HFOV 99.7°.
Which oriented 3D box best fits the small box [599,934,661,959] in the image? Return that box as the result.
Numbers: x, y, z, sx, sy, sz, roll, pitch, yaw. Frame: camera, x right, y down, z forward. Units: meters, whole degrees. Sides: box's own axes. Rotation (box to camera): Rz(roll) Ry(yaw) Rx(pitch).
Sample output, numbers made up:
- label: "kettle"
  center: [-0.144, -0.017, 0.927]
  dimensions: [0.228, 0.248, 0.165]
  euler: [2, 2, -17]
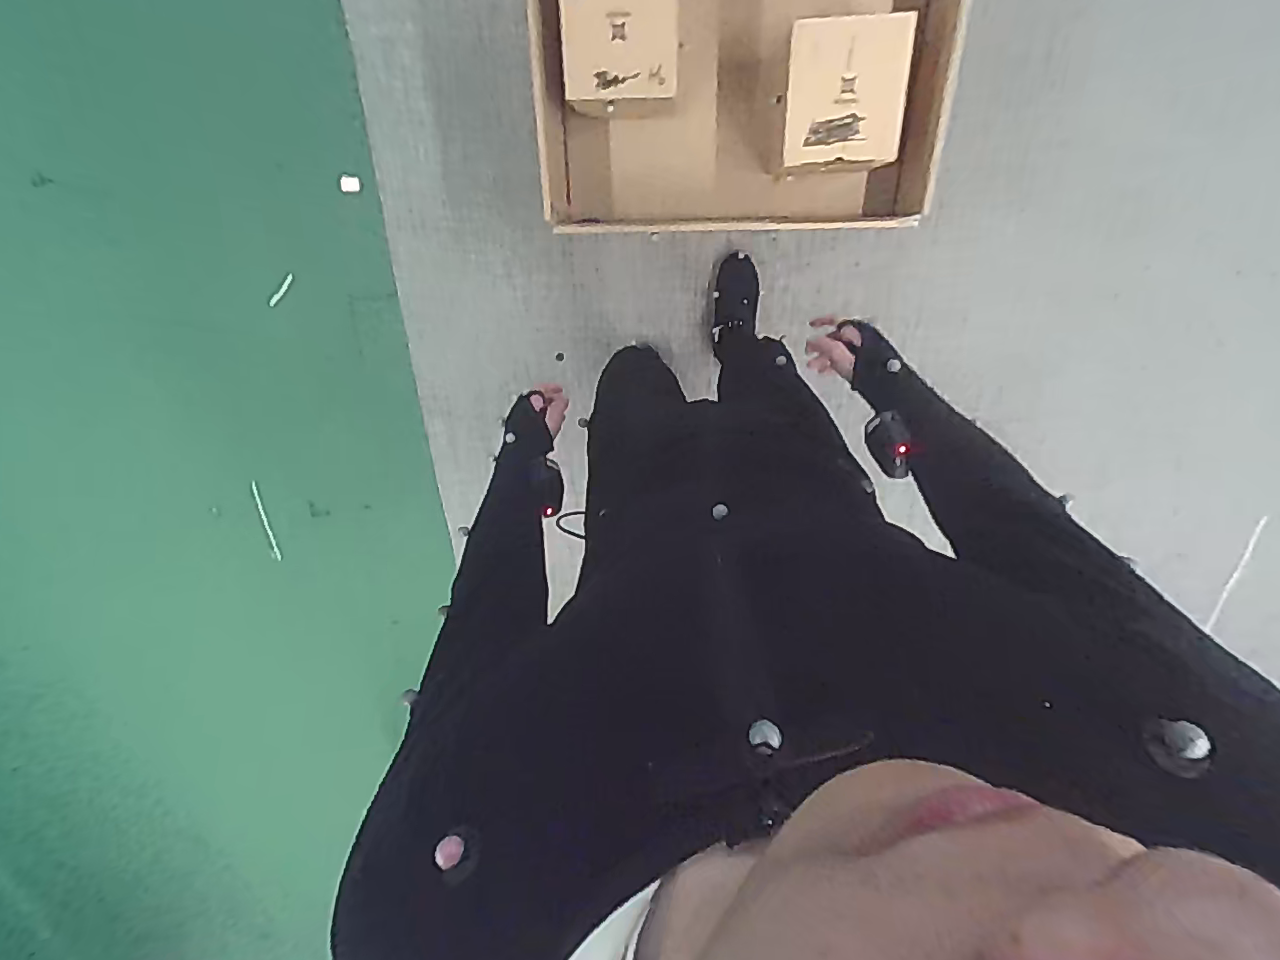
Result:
- label: "small box"
  center: [-0.026, 1.389, 1.479]
  dimensions: [0.168, 0.176, 0.179]
  euler: [-3, 115, 5]

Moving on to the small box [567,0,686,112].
- label: "small box"
  center: [-0.016, -0.678, 0.817]
  dimensions: [0.168, 0.176, 0.179]
  euler: [3, 116, 4]
